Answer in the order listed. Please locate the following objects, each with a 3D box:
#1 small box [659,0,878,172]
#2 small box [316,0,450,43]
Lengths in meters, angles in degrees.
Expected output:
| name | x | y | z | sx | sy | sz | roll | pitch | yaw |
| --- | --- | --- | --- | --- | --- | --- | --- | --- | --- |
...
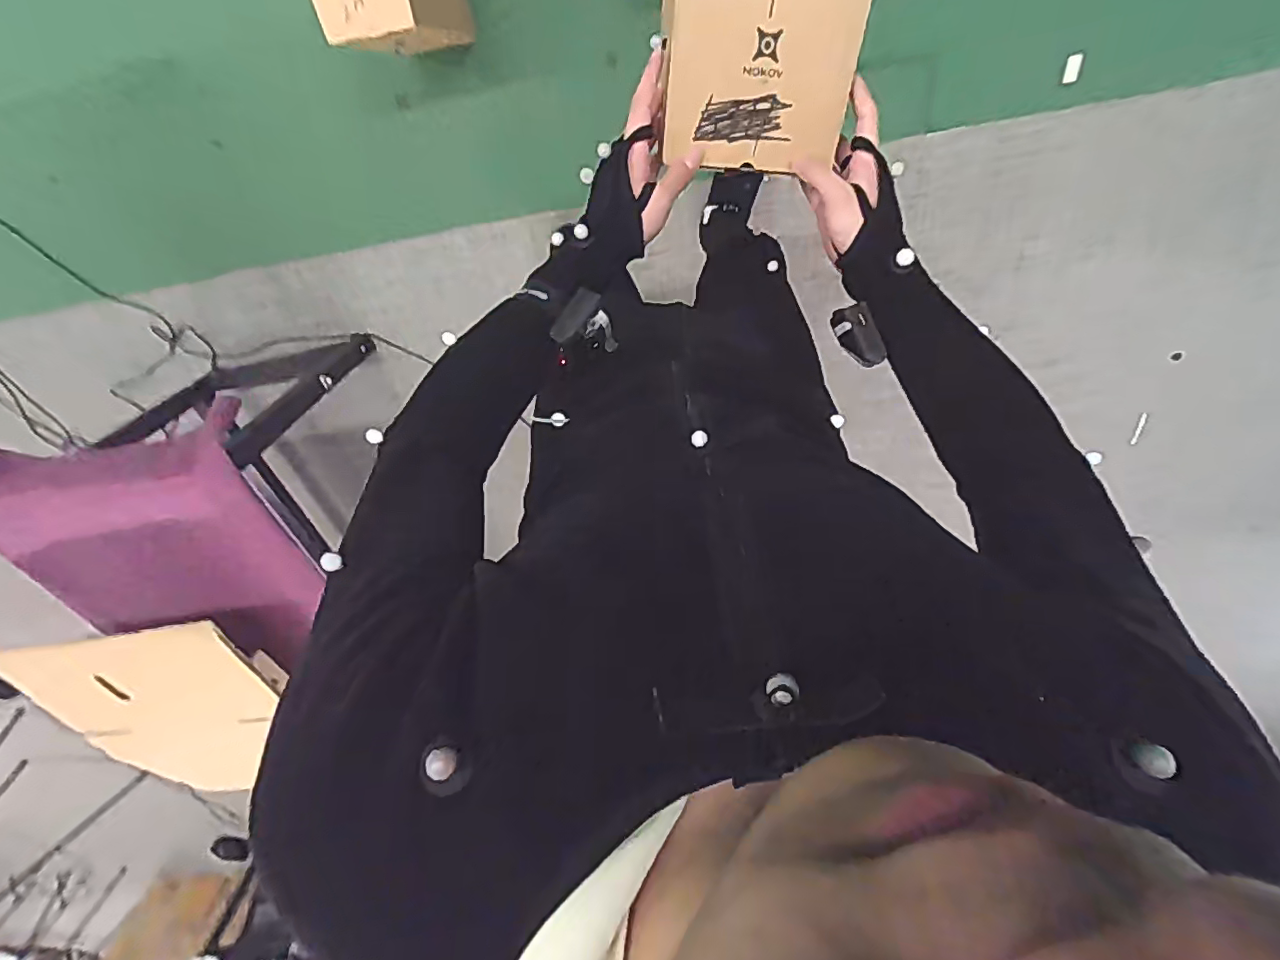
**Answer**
| name | x | y | z | sx | sy | sz | roll | pitch | yaw |
| --- | --- | --- | --- | --- | --- | --- | --- | --- | --- |
| small box | 0.108 | -0.412 | 0.523 | 0.168 | 0.176 | 0.179 | 1 | 126 | -3 |
| small box | -0.452 | -0.875 | 0.924 | 0.168 | 0.176 | 0.179 | -3 | 126 | 8 |
